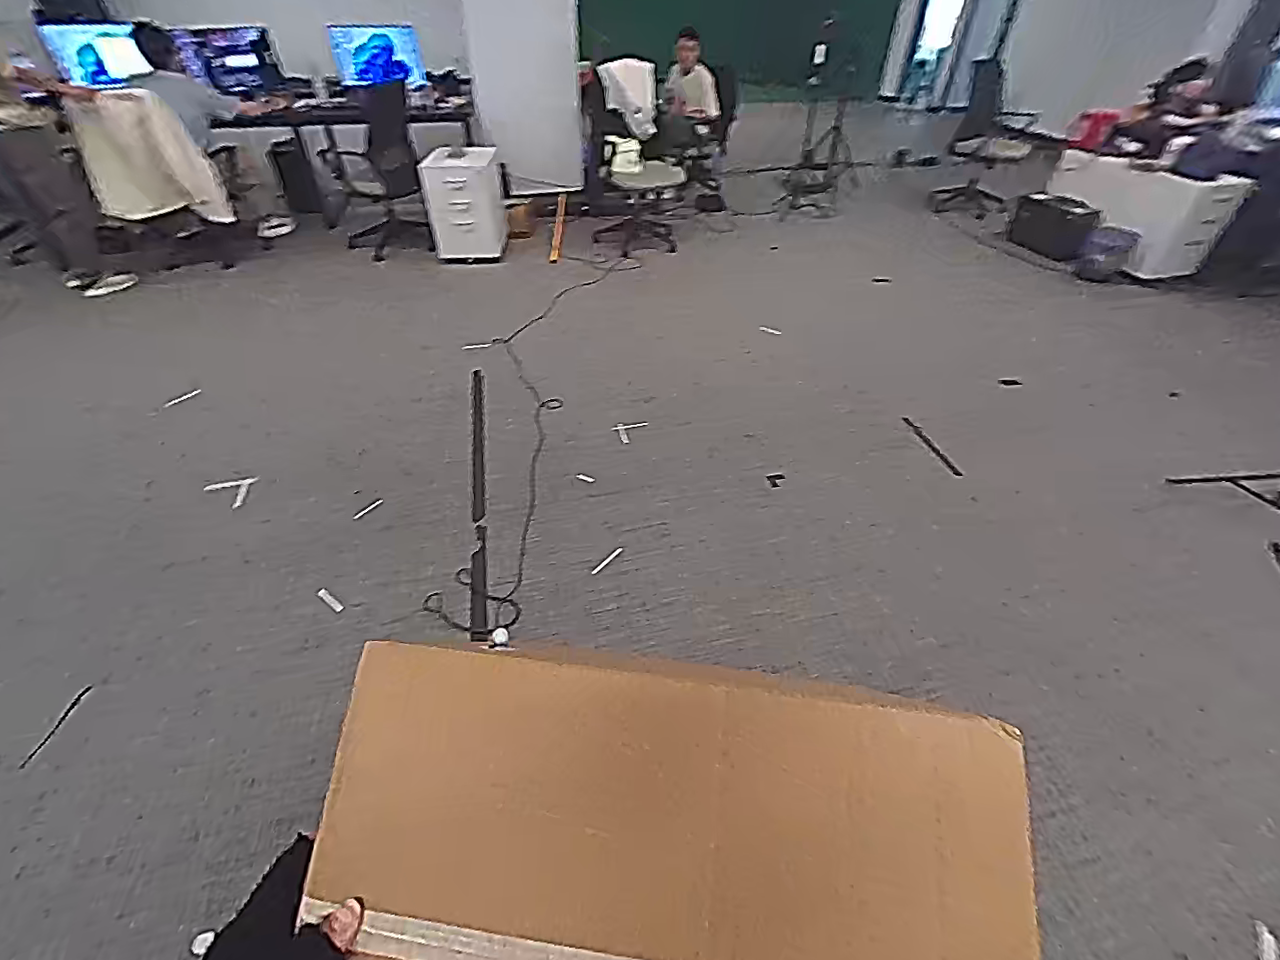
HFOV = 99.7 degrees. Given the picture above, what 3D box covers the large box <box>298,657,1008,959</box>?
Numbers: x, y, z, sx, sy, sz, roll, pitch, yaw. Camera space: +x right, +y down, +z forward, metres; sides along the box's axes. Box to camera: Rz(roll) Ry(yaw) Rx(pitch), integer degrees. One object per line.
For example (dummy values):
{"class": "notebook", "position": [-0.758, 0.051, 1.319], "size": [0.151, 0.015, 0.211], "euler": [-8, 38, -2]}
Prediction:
{"class": "large box", "position": [0.010, 0.323, 0.444], "size": [0.408, 0.320, 0.320], "euler": [4, 74, 7]}
